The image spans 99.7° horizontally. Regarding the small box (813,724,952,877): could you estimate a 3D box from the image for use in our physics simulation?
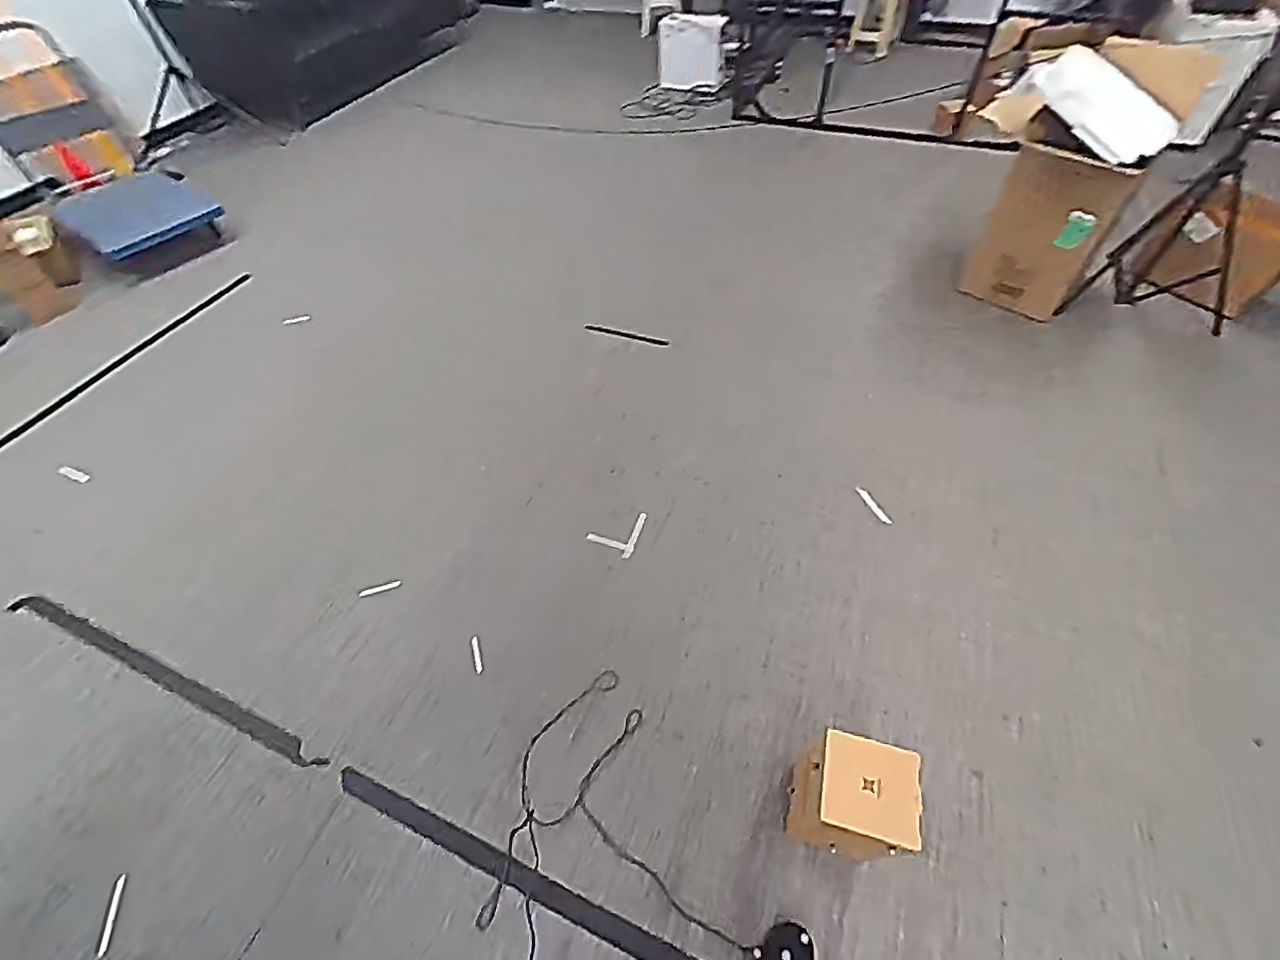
[{"bbox_3d":[0.452,0.604,1.025,0.168,0.176,0.179,22,36,-3],"label":"small box"}]
